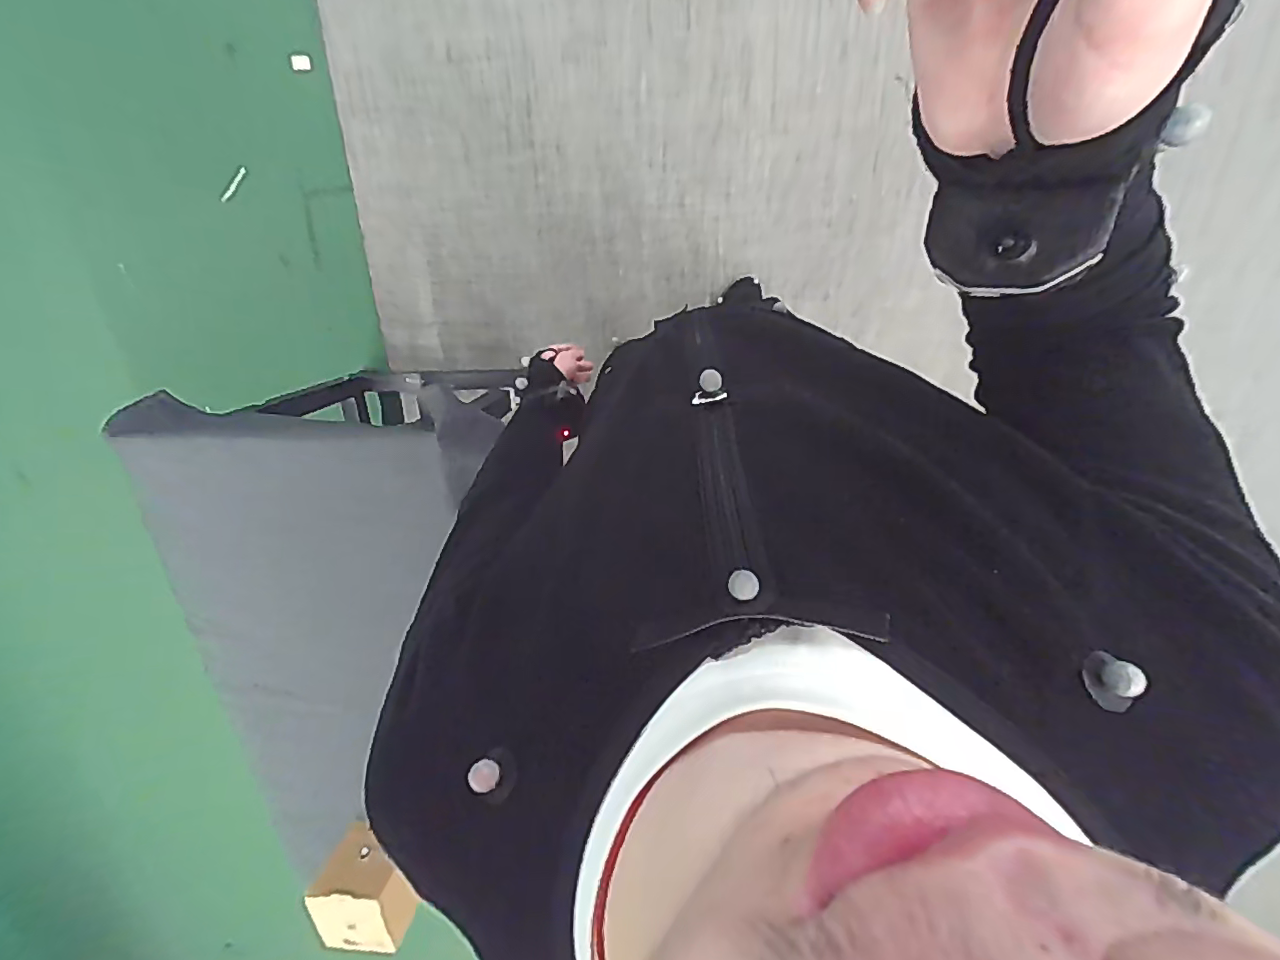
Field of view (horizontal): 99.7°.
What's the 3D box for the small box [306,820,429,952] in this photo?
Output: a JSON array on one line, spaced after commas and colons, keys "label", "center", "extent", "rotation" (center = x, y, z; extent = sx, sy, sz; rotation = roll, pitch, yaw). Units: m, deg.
[{"label": "small box", "center": [-0.597, 0.898, 1.207], "extent": [0.168, 0.176, 0.179], "rotation": [0, 110, 7]}]
